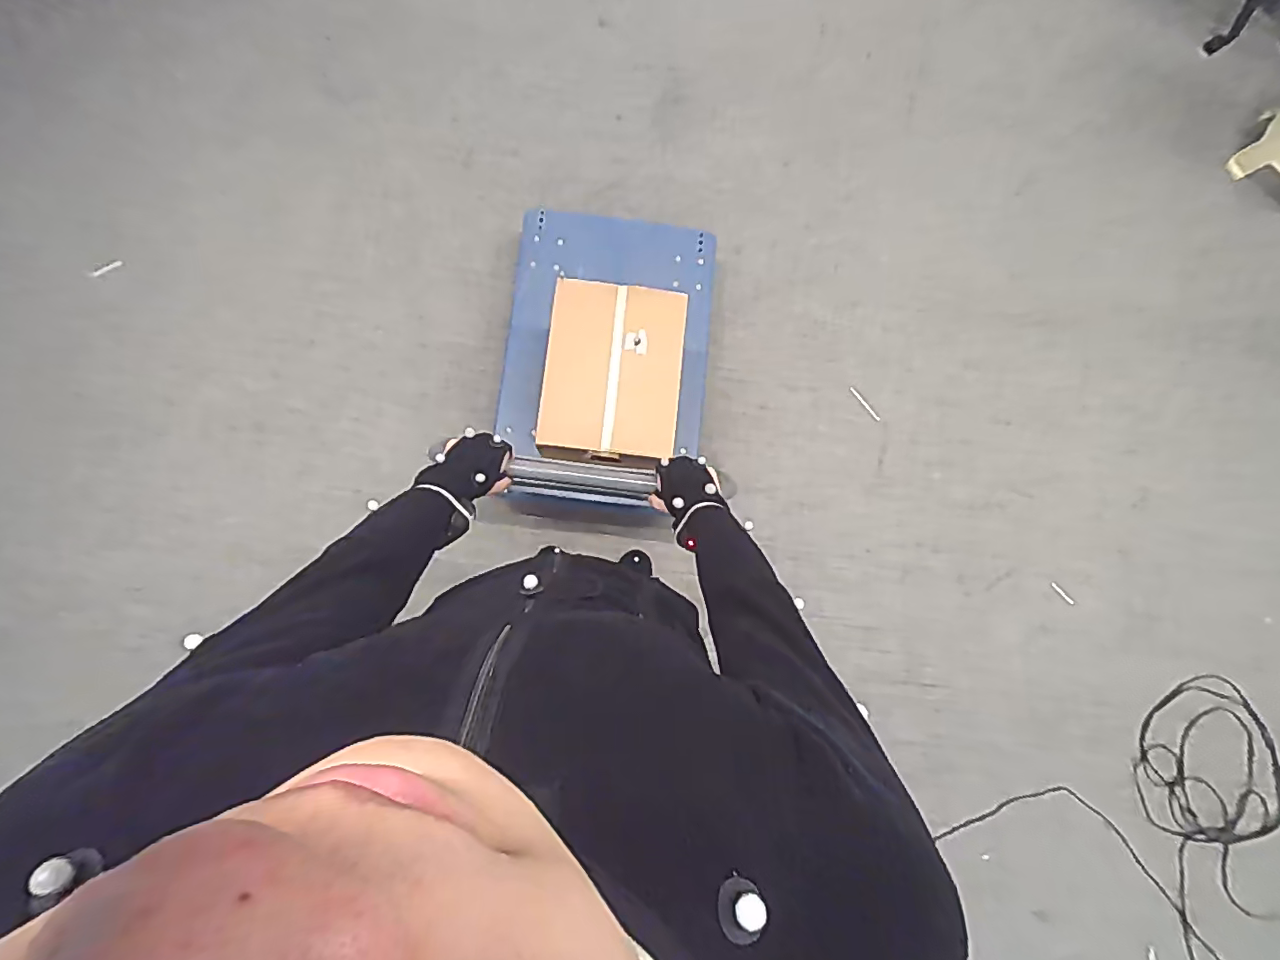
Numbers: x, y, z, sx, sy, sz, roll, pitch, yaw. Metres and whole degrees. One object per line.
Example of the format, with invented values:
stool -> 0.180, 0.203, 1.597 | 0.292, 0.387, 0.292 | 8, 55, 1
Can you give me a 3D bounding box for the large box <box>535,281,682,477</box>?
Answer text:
large box -> -0.077, -0.235, 1.388 | 0.320, 0.320, 0.408 | 6, 80, -4
